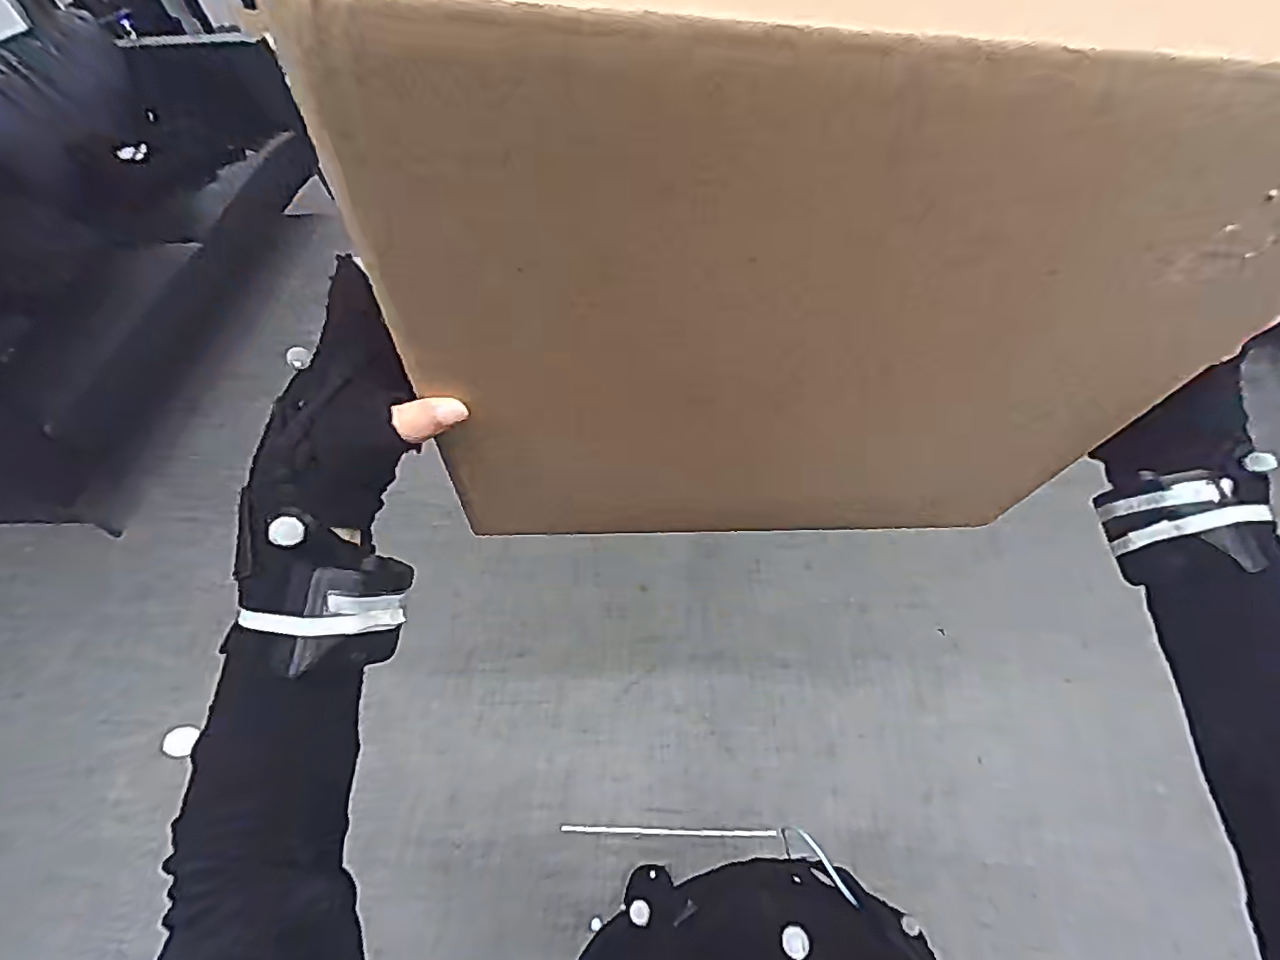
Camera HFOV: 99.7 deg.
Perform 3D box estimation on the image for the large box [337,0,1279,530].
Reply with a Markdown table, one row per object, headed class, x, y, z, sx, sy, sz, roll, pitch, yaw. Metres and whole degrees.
| class | x | y | z | sx | sy | sz | roll | pitch | yaw |
| --- | --- | --- | --- | --- | --- | --- | --- | --- | --- |
| large box | 0.088 | -0.171 | 0.369 | 0.408 | 0.320 | 0.320 | 0 | 59 | -6 |
